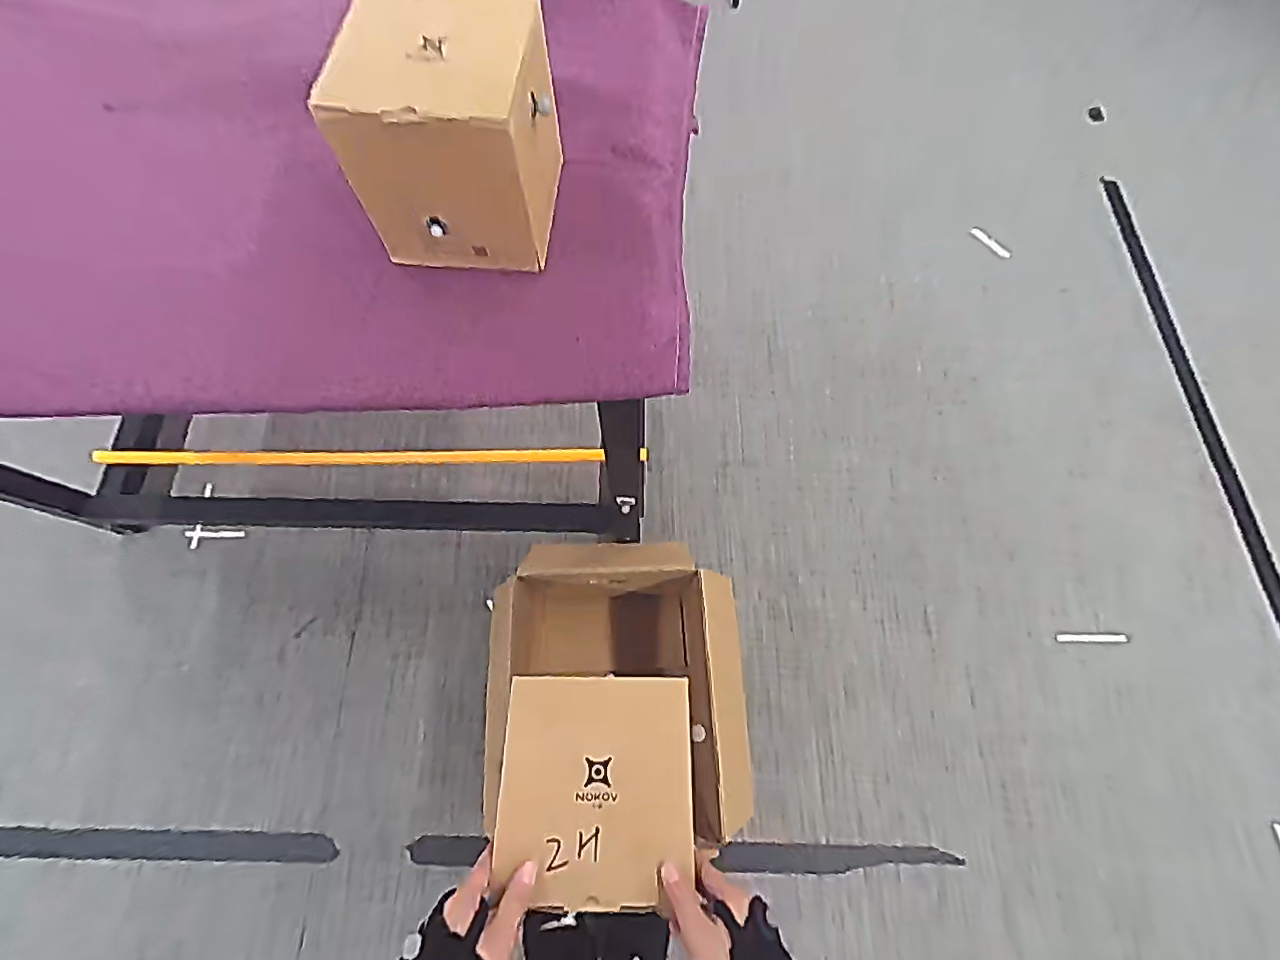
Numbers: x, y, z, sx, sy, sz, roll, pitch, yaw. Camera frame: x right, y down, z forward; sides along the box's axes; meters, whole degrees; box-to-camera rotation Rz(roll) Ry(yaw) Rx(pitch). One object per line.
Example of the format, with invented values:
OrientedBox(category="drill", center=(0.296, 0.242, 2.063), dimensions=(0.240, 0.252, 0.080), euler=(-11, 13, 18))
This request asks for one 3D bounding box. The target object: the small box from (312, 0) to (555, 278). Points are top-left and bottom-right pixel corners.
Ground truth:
OrientedBox(category="small box", center=(-0.184, -0.335, 0.547), dimensions=(0.168, 0.176, 0.179), euler=(3, 68, 2))

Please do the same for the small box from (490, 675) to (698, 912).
OrientedBox(category="small box", center=(-0.035, 0.296, 0.530), dimensions=(0.168, 0.176, 0.179), euler=(0, 62, 1))
